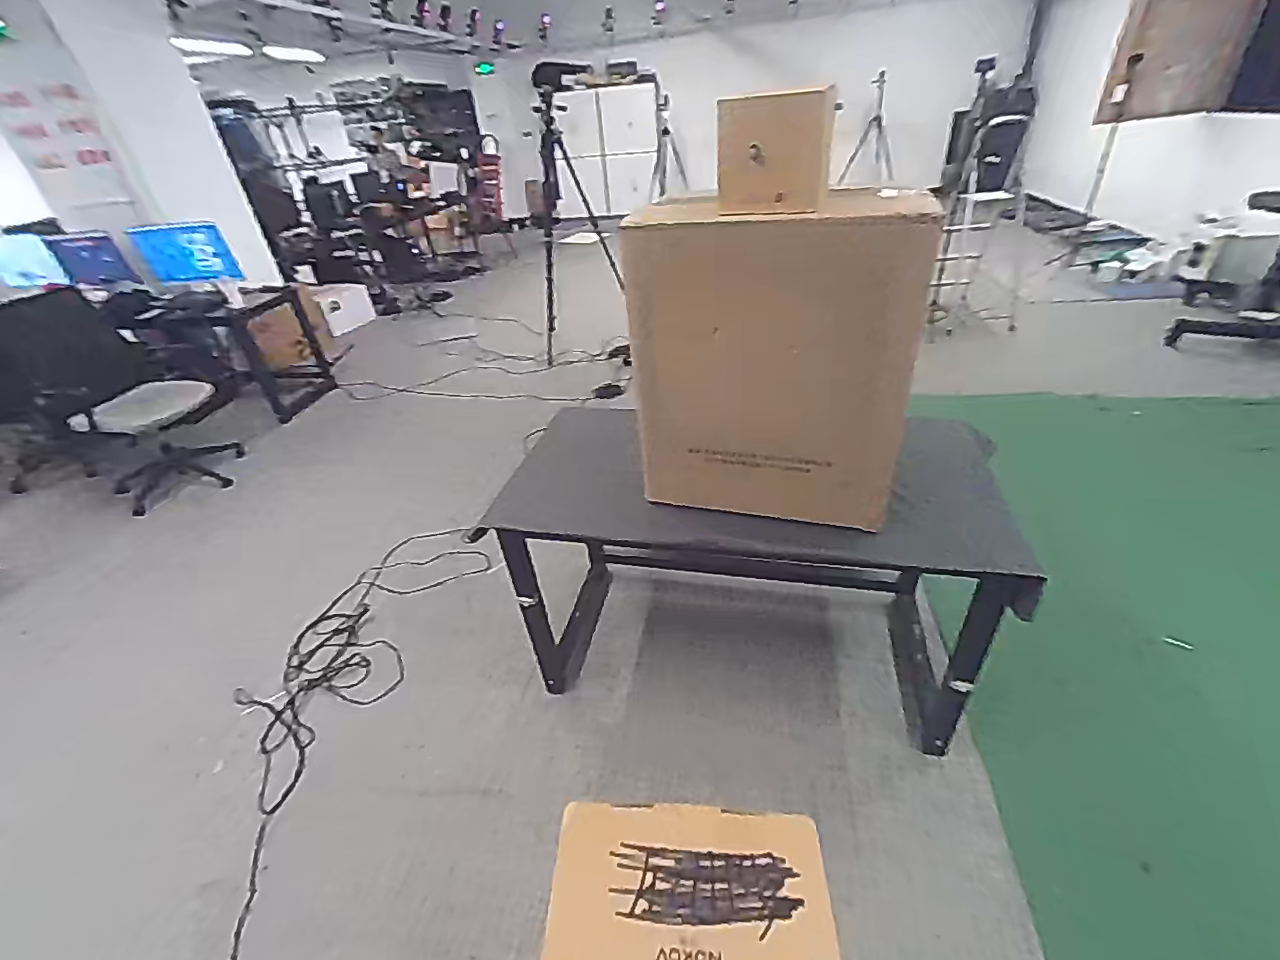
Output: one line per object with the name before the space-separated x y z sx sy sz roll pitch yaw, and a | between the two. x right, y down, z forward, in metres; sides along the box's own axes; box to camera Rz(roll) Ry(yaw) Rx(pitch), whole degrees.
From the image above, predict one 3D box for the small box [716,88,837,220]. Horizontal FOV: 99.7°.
small box | 0.233 -0.546 0.916 0.168 0.176 0.179 9 39 20
